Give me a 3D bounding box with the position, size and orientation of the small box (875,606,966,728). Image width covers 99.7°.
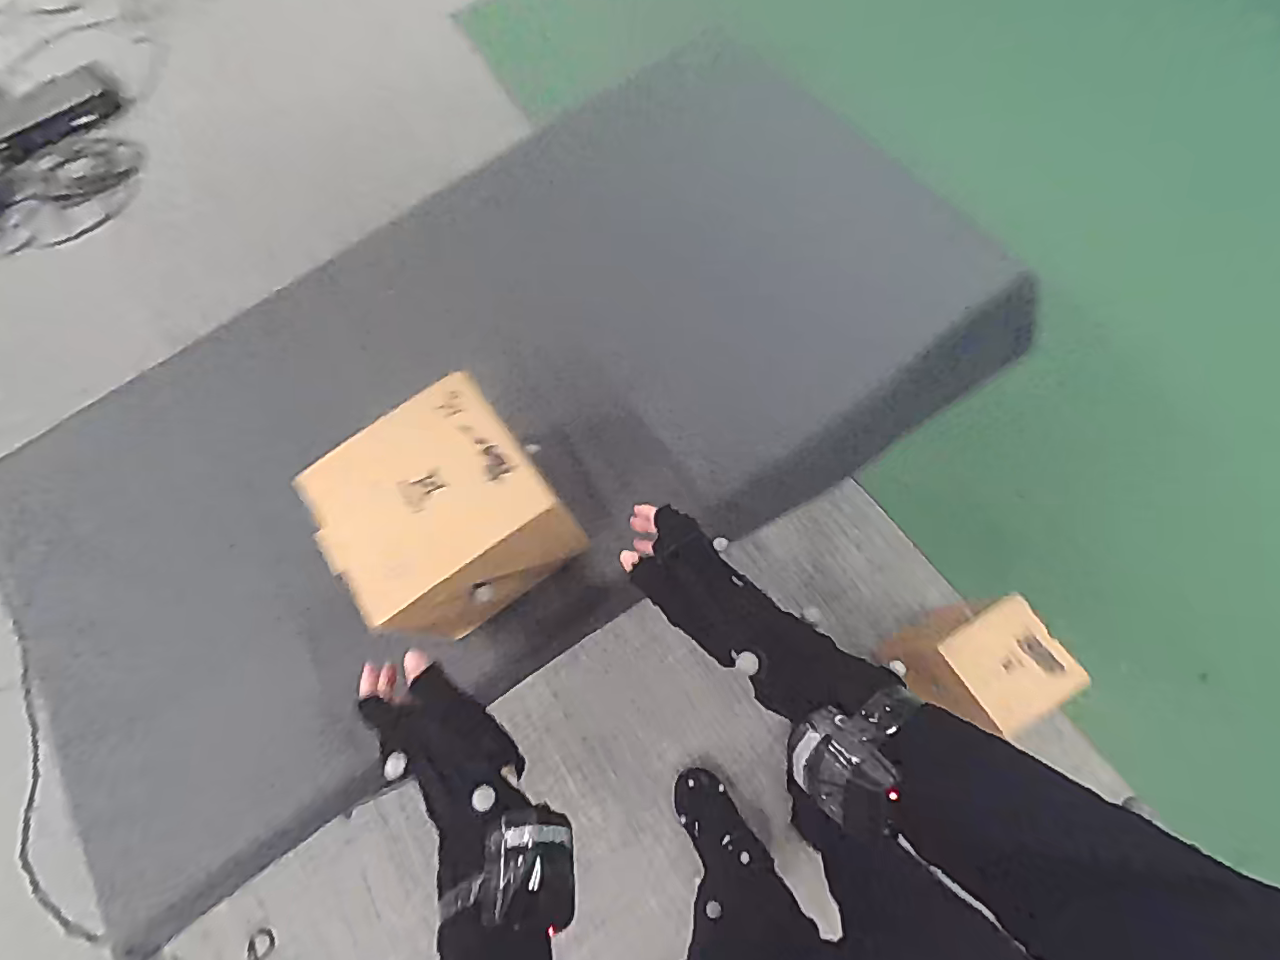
[{"bbox_3d":[0.626,0.383,1.123,0.179,0.176,0.168,-33,71,-4],"label":"small box"}]

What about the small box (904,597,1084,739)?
[{"bbox_3d":[0.615,0.330,0.967,0.179,0.176,0.168,-31,71,-4],"label":"small box"}]

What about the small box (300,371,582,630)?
[{"bbox_3d":[-0.182,0.033,0.541,0.179,0.176,0.168,-35,71,-6],"label":"small box"}]
